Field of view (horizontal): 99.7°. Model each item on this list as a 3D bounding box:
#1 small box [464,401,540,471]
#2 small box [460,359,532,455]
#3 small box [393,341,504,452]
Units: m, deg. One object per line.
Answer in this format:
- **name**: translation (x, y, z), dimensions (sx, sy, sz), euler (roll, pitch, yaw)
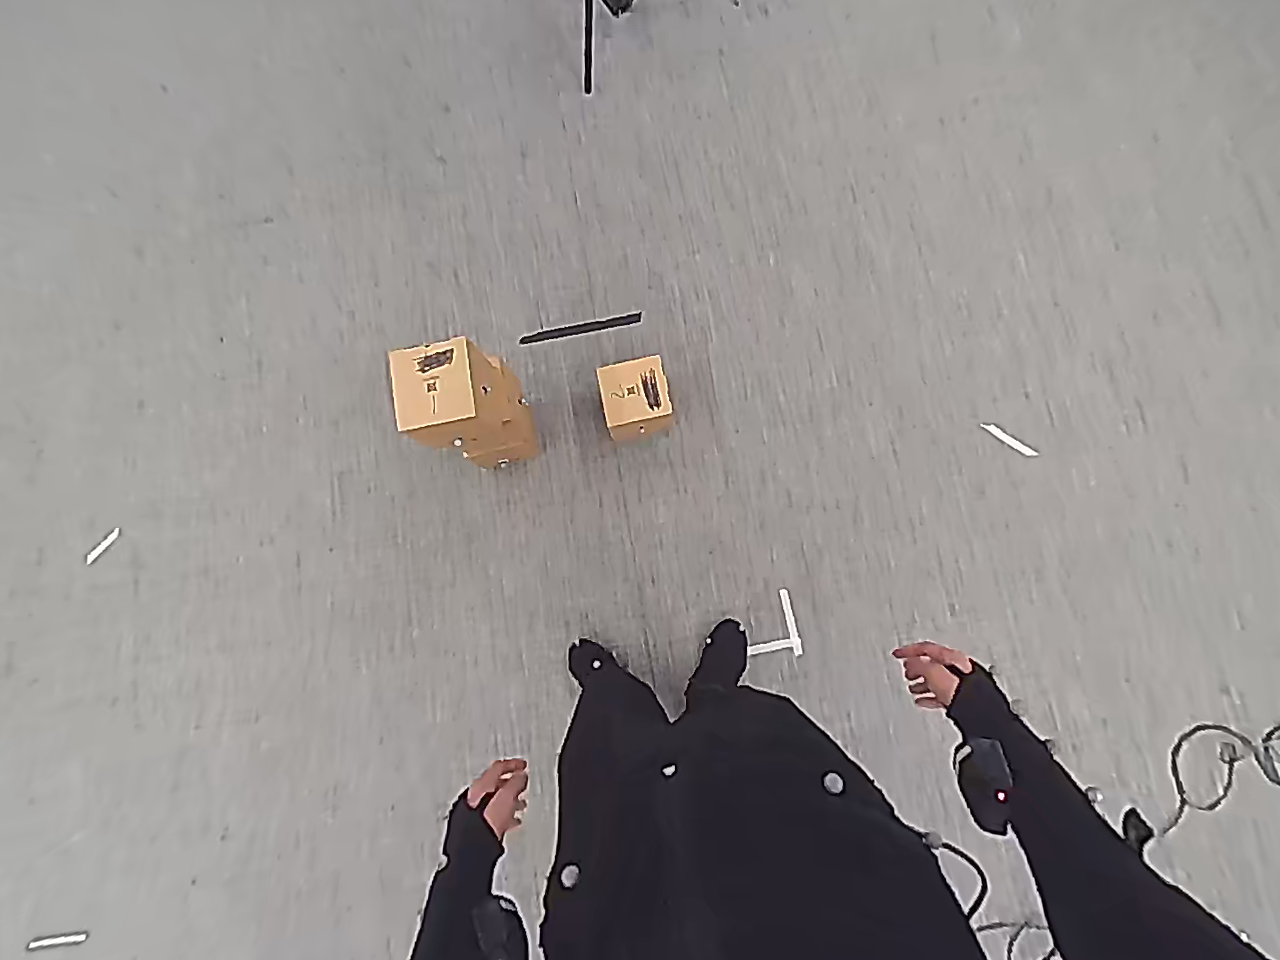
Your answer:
- **small box**: translation (-0.386, -0.137, 1.491), dimensions (0.168, 0.176, 0.179), euler (-13, 80, 2)
- **small box**: translation (-0.384, -0.171, 1.331), dimensions (0.179, 0.176, 0.168), euler (-15, 79, 2)
- **small box**: translation (-0.406, -0.173, 1.166), dimensions (0.168, 0.176, 0.179), euler (-11, 80, 3)
